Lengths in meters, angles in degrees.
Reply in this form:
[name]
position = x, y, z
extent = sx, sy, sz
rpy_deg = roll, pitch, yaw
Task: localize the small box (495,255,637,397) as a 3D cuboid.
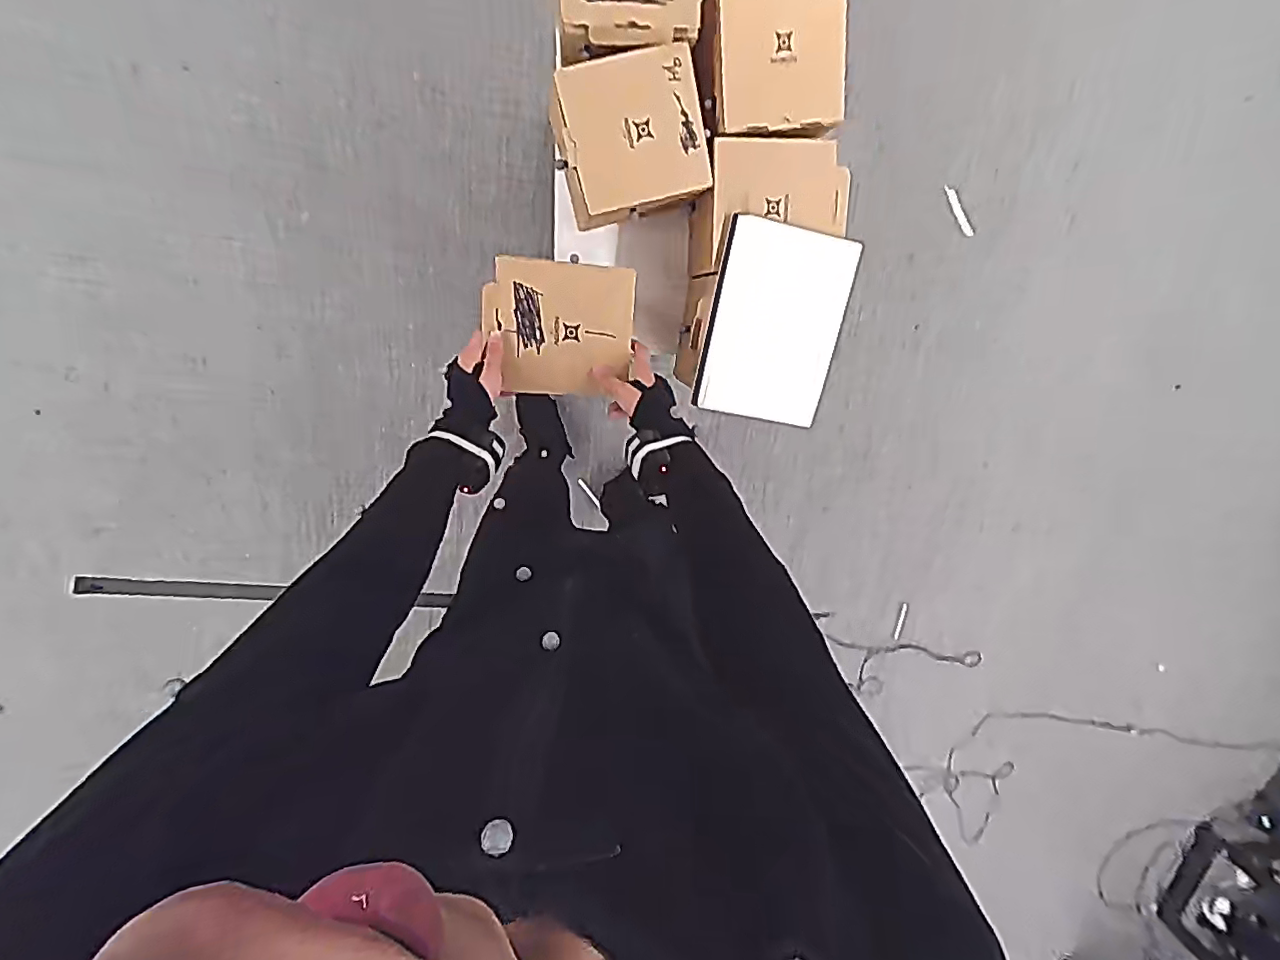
[small box]
position = -0.106, -0.217, 0.768
extent = 0.179, 0.176, 0.168
rpy_deg = 2, 108, -9
